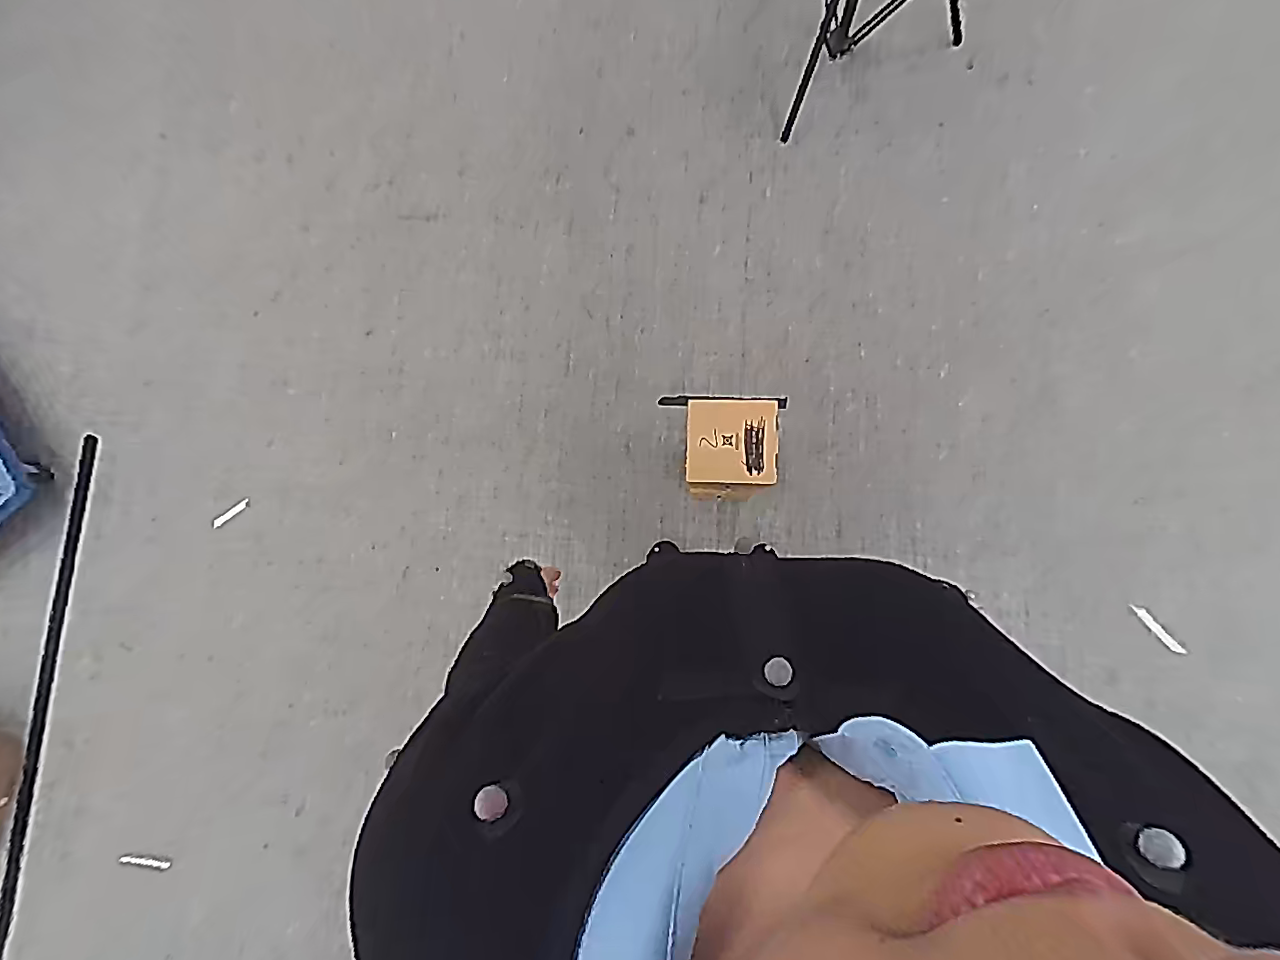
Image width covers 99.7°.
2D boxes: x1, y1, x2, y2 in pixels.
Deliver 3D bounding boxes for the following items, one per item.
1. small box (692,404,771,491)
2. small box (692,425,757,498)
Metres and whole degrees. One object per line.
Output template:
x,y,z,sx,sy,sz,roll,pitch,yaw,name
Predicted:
0.212,-0.071,1.284,0.168,0.176,0.179,3,85,6,small box
0.224,-0.045,1.444,0.168,0.176,0.179,1,83,6,small box
